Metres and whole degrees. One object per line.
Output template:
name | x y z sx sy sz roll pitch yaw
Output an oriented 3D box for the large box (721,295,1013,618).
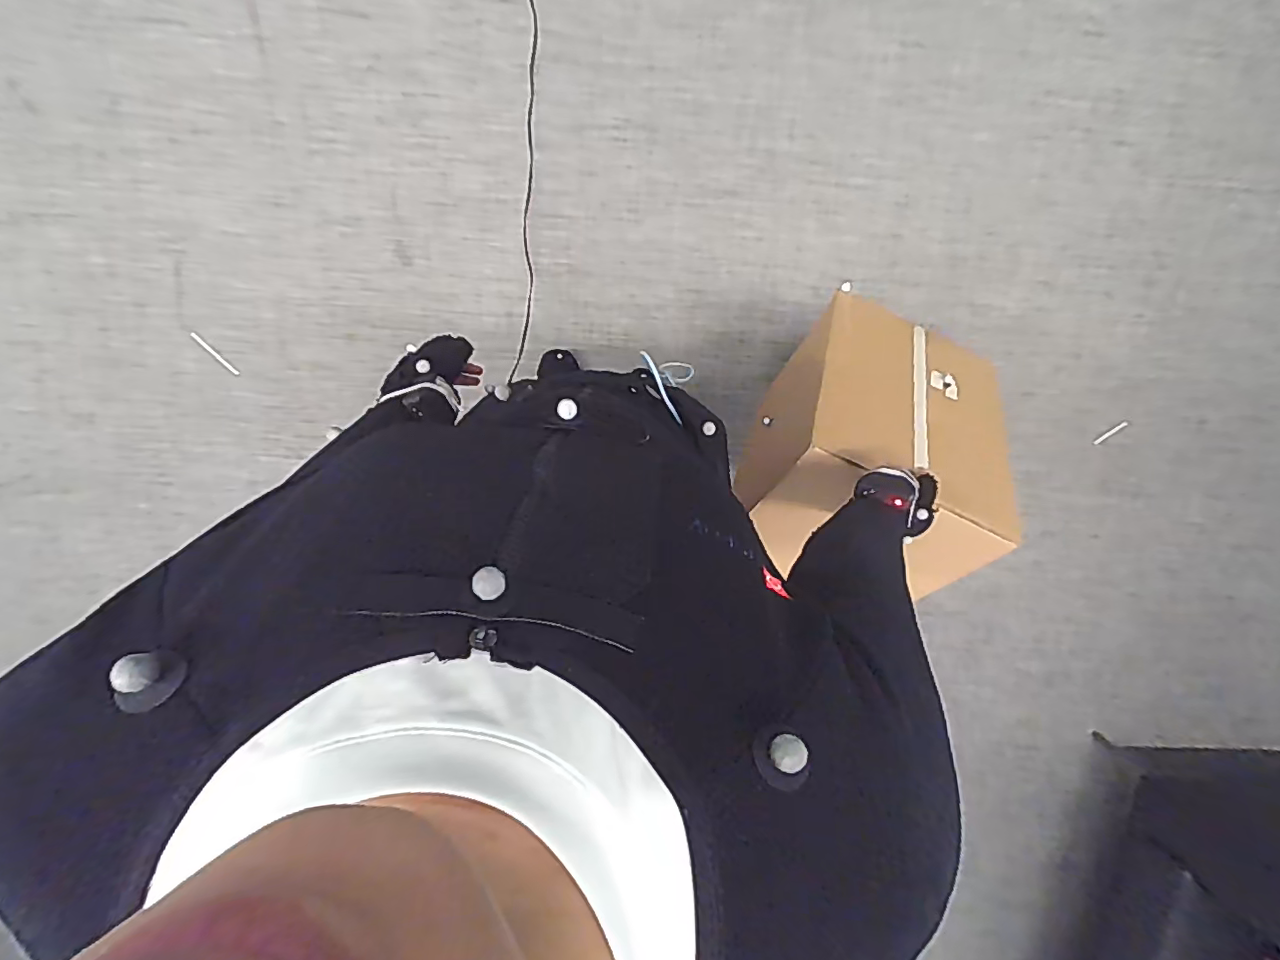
large box | 0.373 -0.038 0.949 0.320 0.408 0.320 26 141 -3
